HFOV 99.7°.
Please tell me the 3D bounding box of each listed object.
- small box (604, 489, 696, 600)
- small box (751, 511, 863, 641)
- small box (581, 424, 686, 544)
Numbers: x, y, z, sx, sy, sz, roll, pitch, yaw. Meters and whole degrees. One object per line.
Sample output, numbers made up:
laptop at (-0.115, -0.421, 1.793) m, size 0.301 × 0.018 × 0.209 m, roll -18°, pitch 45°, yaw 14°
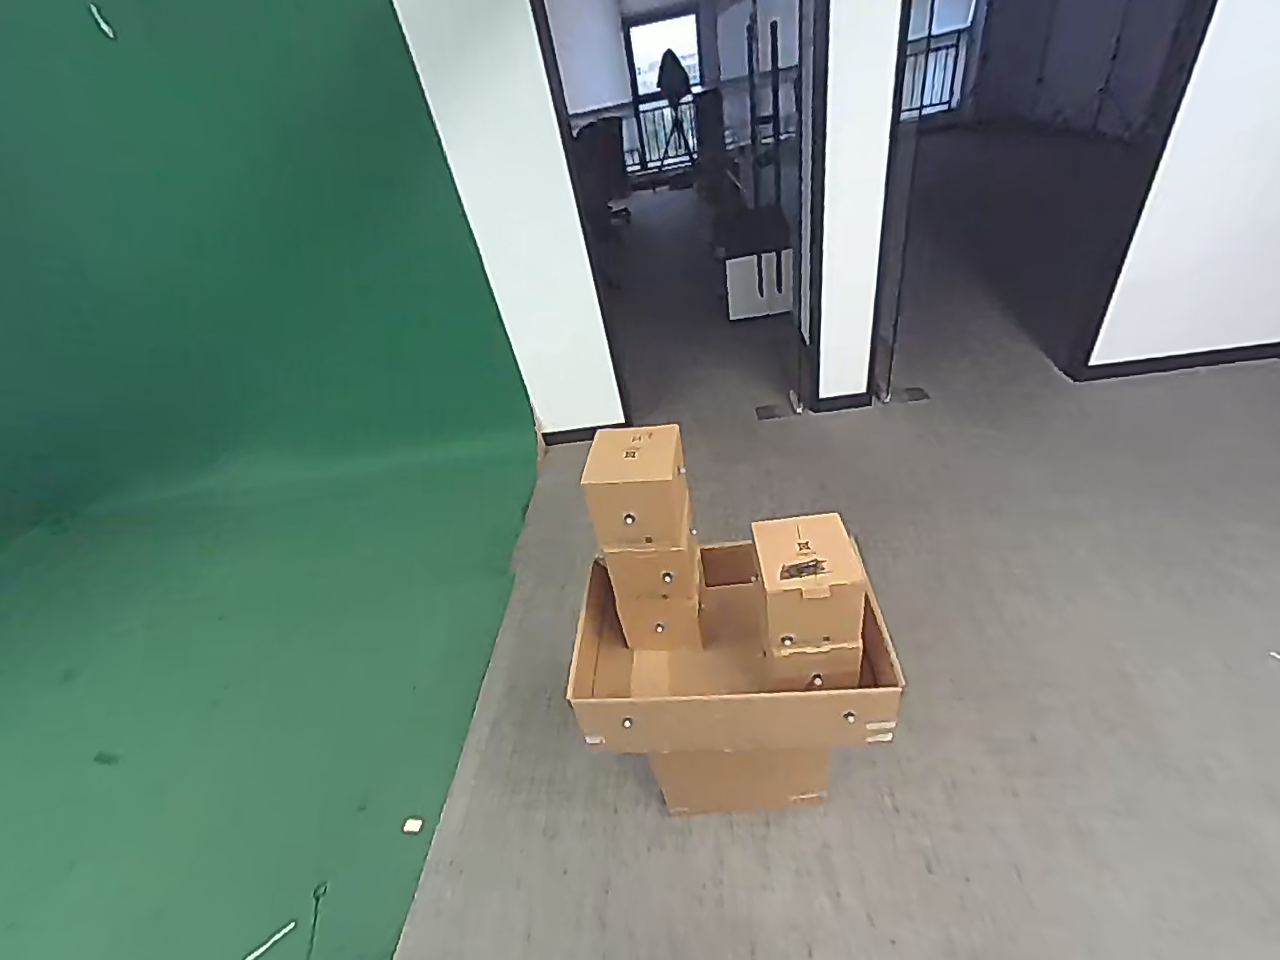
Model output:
small box at (0.029, 0.141, 1.149) m, size 0.168 × 0.176 × 0.179 m, roll -3°, pitch 38°, yaw 10°
small box at (0.305, 0.185, 1.011) m, size 0.168 × 0.176 × 0.179 m, roll -7°, pitch 38°, yaw 7°
small box at (-0.002, 0.011, 1.053) m, size 0.168 × 0.176 × 0.179 m, roll -2°, pitch 39°, yaw 11°
